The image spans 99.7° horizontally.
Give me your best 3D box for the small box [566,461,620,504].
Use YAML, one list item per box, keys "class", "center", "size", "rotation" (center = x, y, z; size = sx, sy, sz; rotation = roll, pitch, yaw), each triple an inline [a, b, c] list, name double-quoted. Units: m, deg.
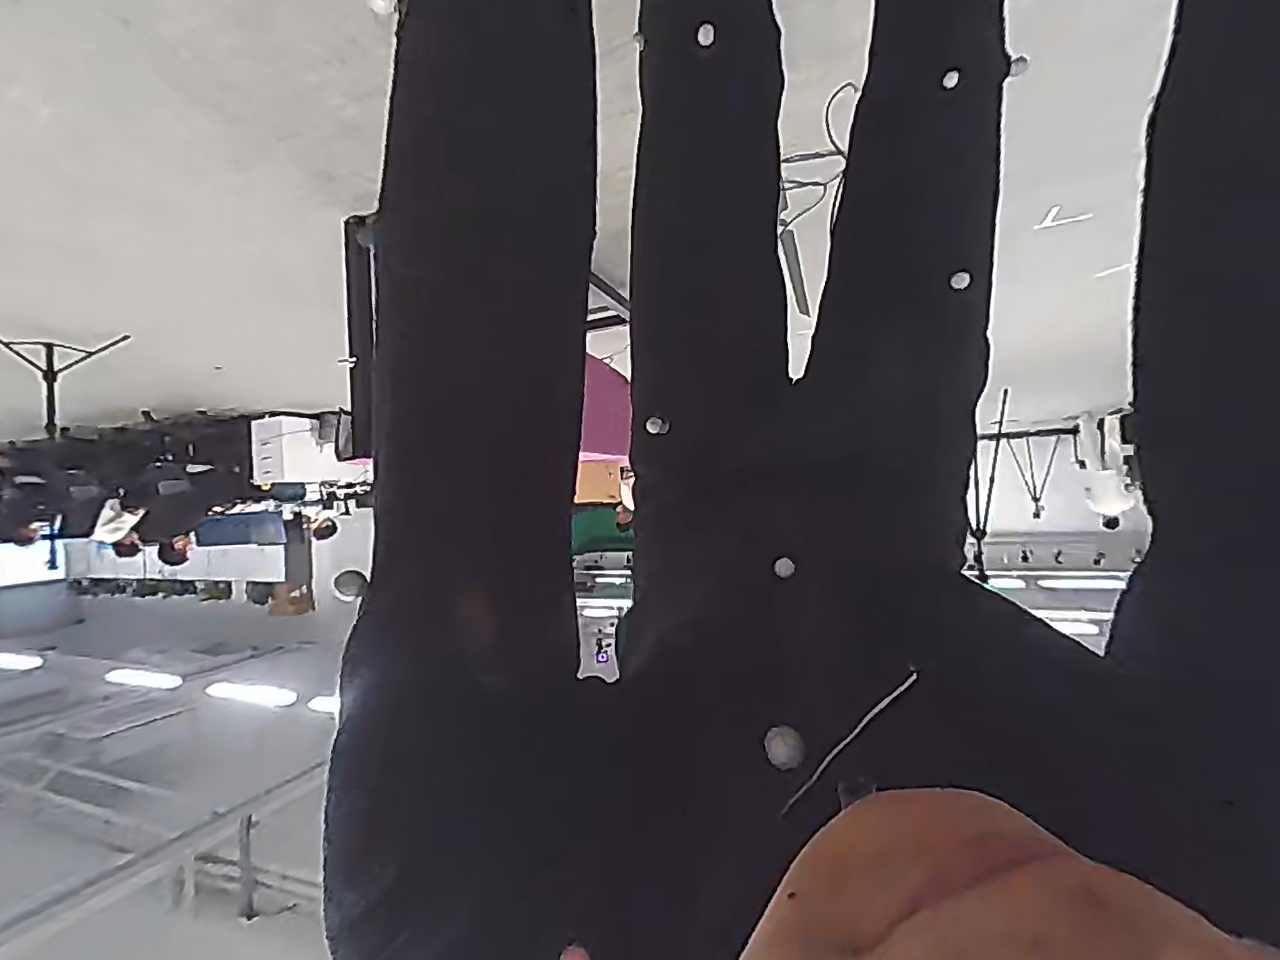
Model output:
- class: "small box"
  center: [-0.200, 0.014, 2.293]
  size: [0.179, 0.176, 0.168]
  rotation: [-5, 179, 31]
